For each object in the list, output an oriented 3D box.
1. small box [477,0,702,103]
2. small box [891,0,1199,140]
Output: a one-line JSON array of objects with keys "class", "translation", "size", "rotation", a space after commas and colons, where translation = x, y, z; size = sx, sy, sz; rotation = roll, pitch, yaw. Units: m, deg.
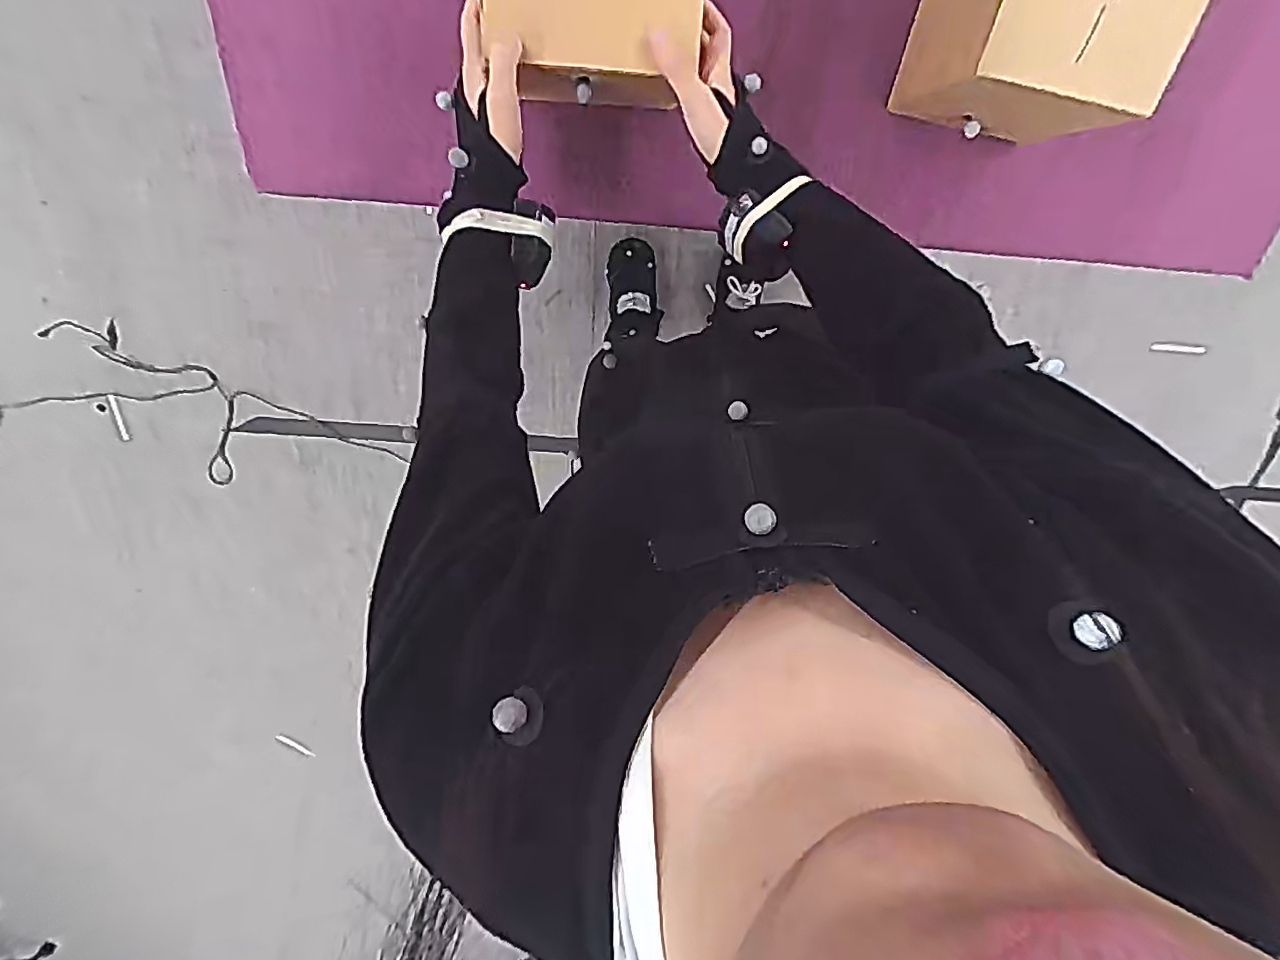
[{"class": "small box", "translation": [-0.040, -0.442, 0.472], "size": [0.179, 0.176, 0.168], "rotation": [2, 118, -3]}, {"class": "small box", "translation": [0.363, -0.435, 0.492], "size": [0.168, 0.176, 0.179], "rotation": [9, 116, -6]}]
